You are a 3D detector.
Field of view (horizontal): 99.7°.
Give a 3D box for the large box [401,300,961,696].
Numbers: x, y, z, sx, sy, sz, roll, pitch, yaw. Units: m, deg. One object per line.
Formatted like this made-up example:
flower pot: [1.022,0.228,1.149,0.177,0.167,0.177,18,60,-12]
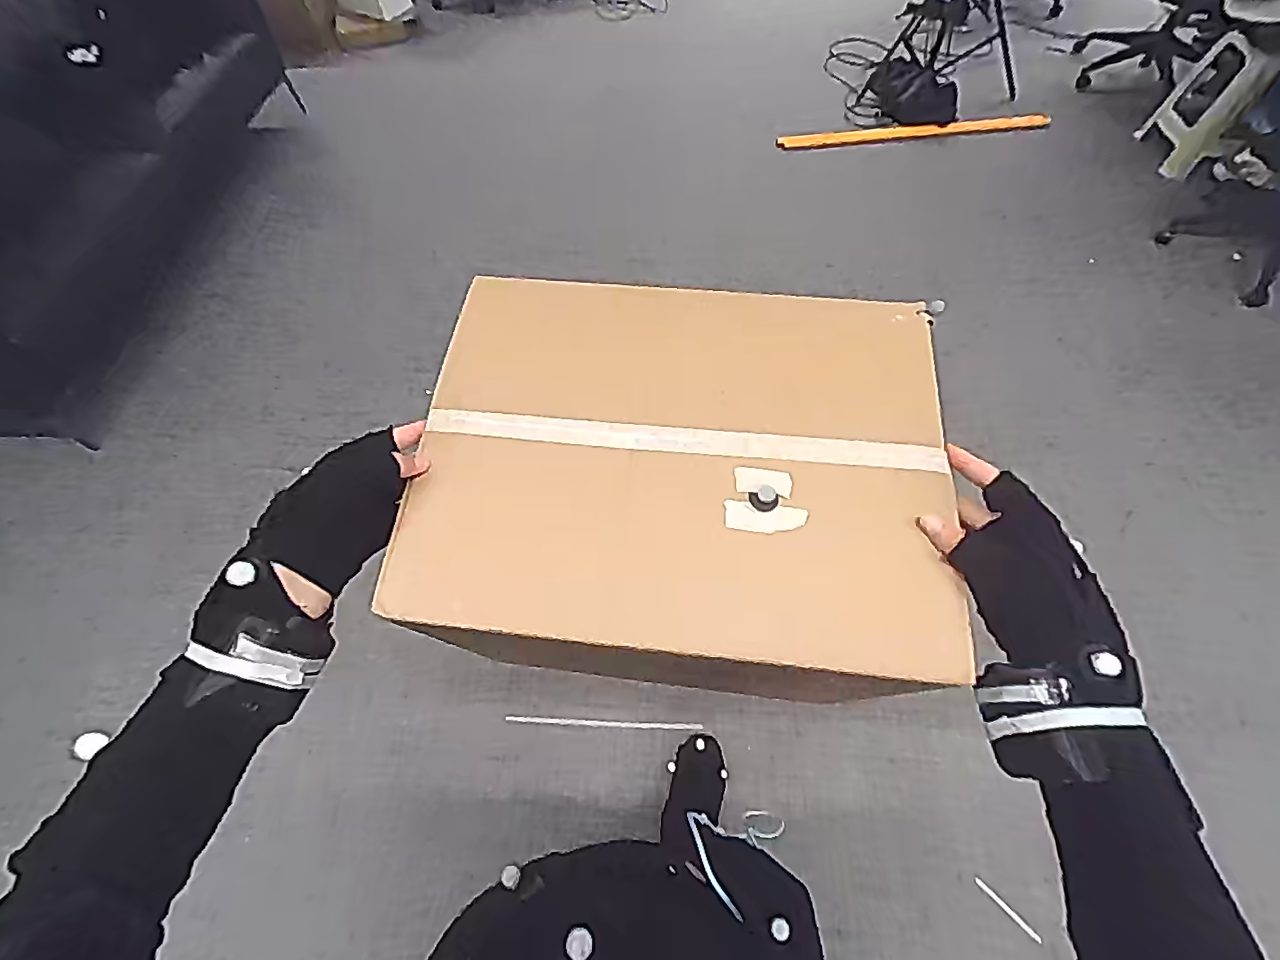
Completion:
large box: [0.039,0.040,0.575,0.408,0.320,0.320,5,66,5]
